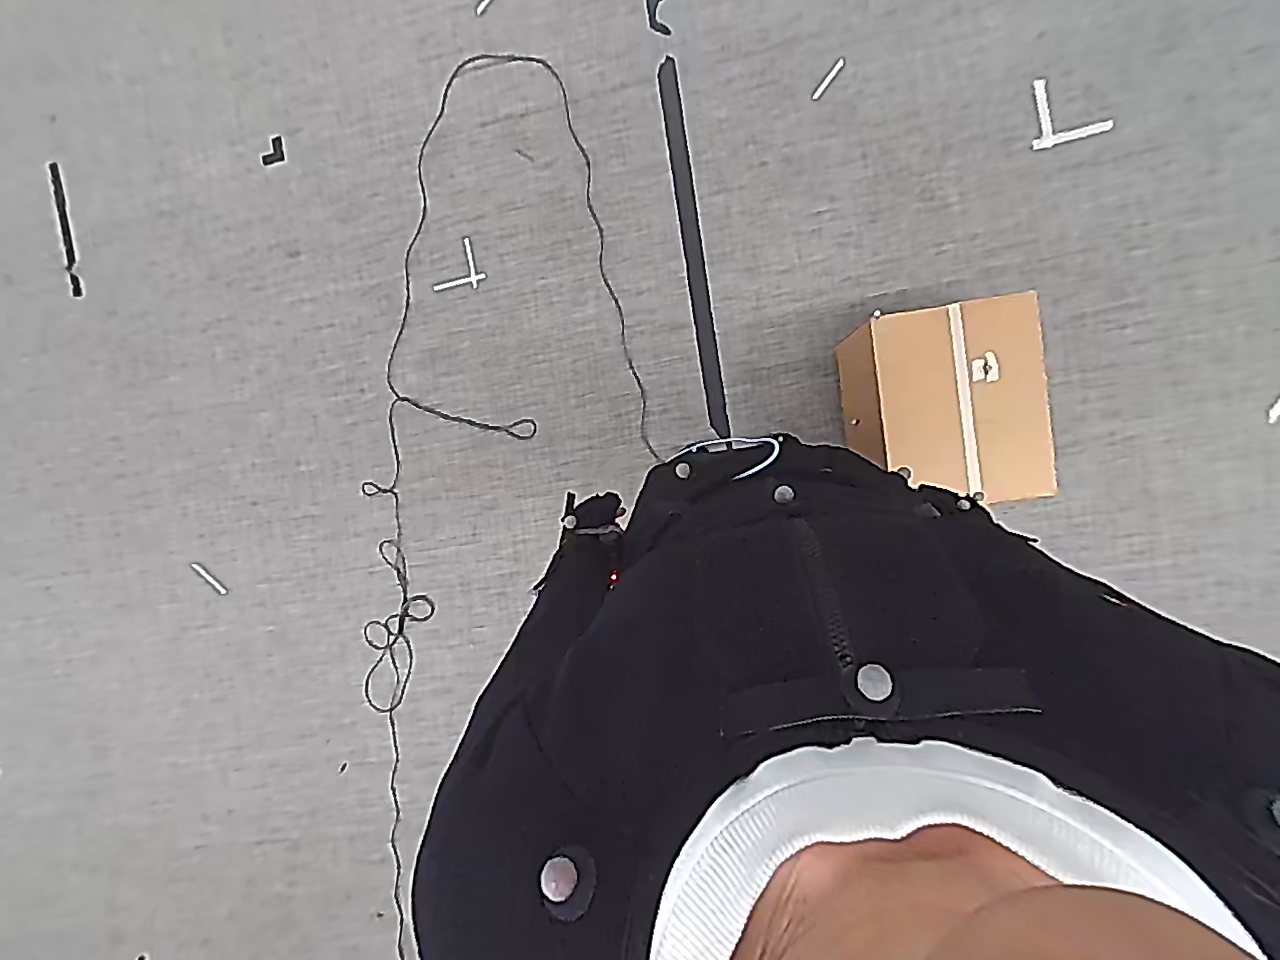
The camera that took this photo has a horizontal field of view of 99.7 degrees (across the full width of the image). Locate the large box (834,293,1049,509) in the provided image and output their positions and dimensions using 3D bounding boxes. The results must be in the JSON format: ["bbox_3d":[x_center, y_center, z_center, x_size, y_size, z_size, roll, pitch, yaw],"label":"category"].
[{"bbox_3d":[0.660,-0.162,1.245,0.320,0.320,0.408,-8,92,7],"label":"large box"}]
